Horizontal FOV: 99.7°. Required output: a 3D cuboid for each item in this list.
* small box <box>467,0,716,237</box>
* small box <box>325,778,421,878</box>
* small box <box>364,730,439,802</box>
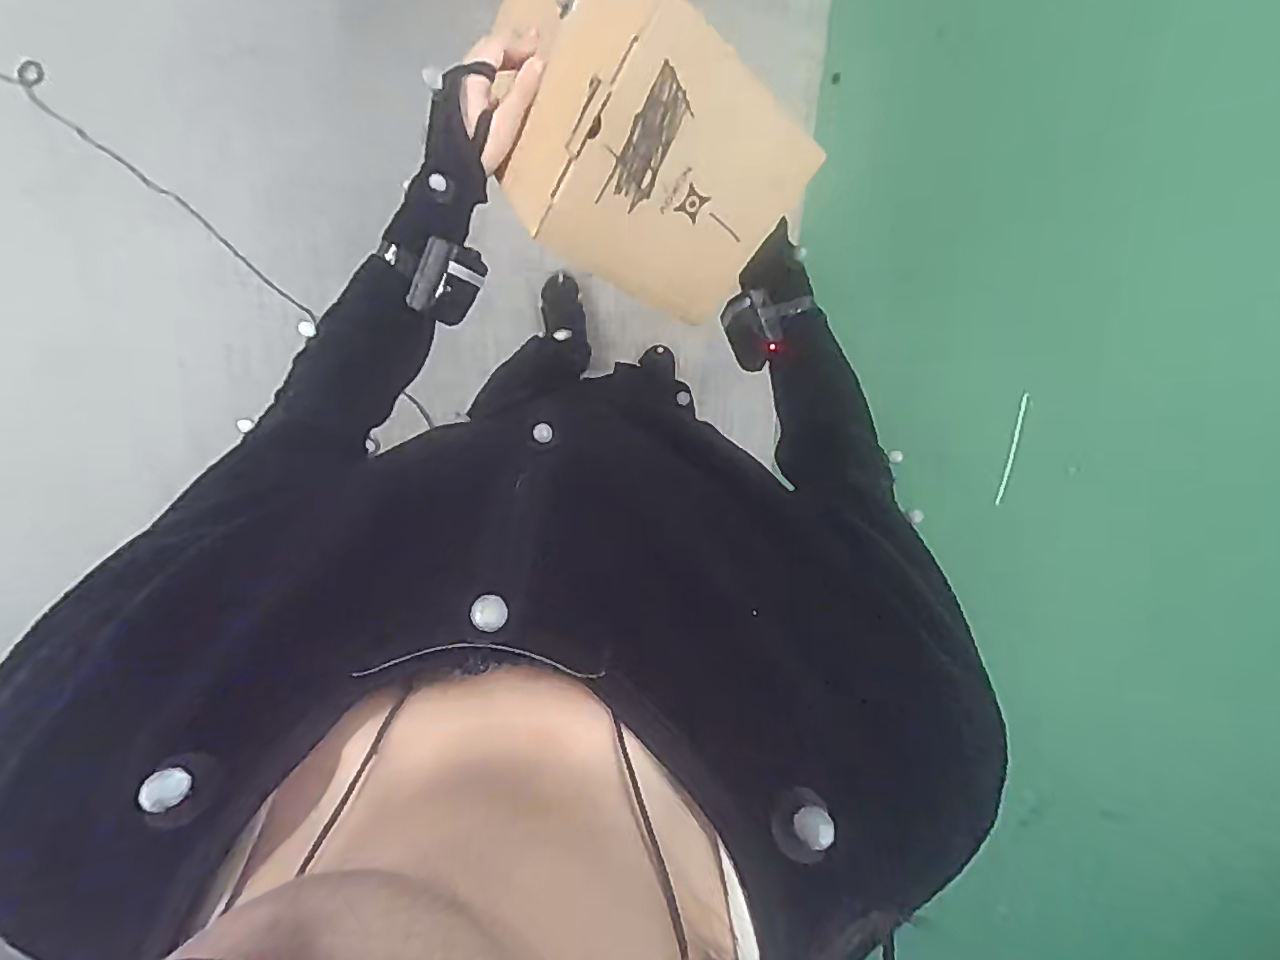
[{"bbox_3d":[-0.061,-0.391,0.543,0.168,0.176,0.179,12,129,-38],"label":"small box"},{"bbox_3d":[-0.753,0.992,1.554,0.179,0.176,0.168,-13,106,4],"label":"small box"},{"bbox_3d":[-0.759,0.938,1.709,0.168,0.176,0.179,22,105,-5],"label":"small box"}]
